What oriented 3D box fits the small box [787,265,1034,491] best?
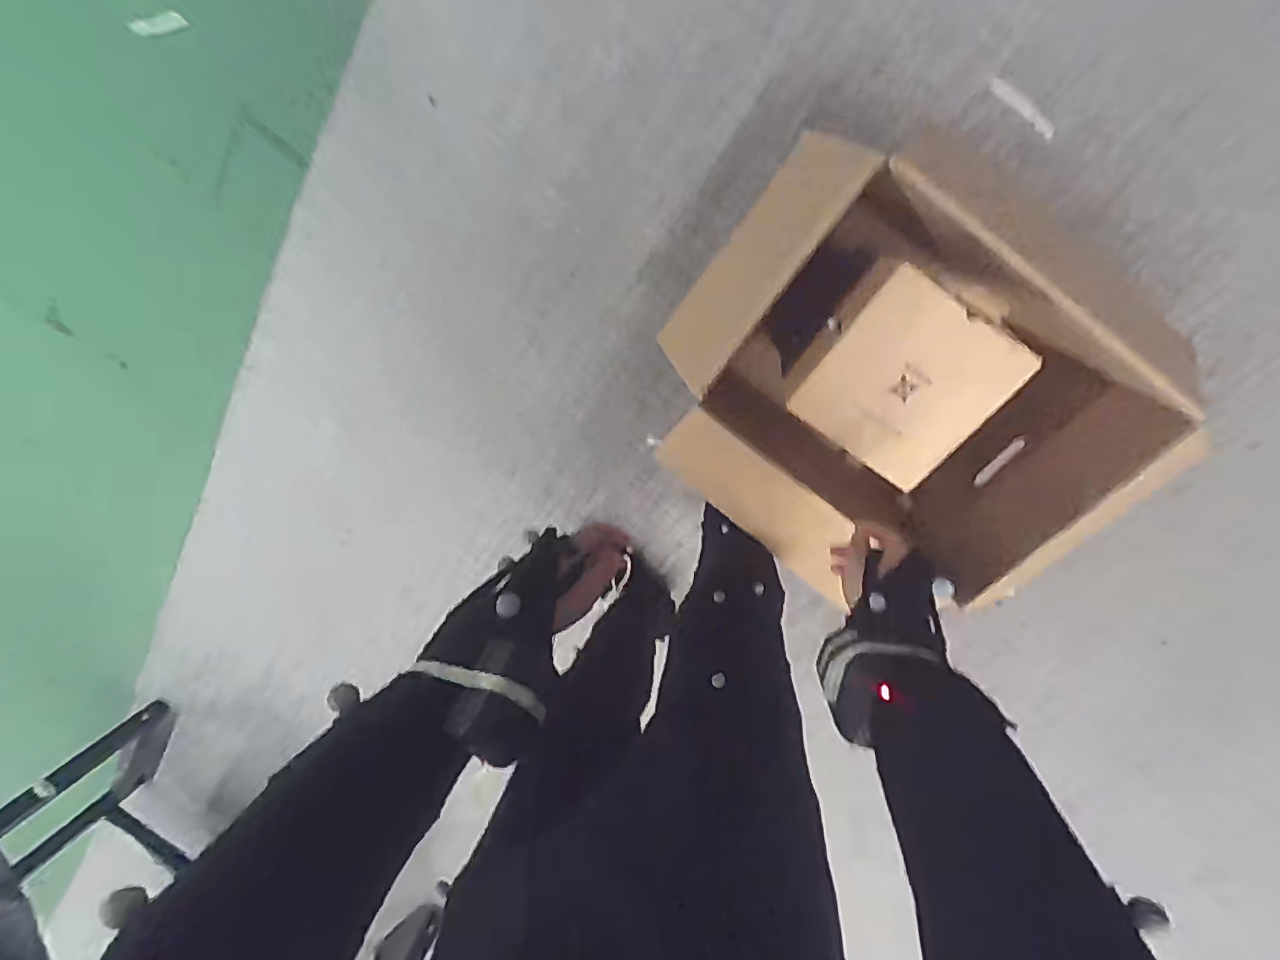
[{"bbox_3d":[0.283,-0.126,0.618,0.168,0.176,0.179,35,117,-2],"label":"small box"}]
